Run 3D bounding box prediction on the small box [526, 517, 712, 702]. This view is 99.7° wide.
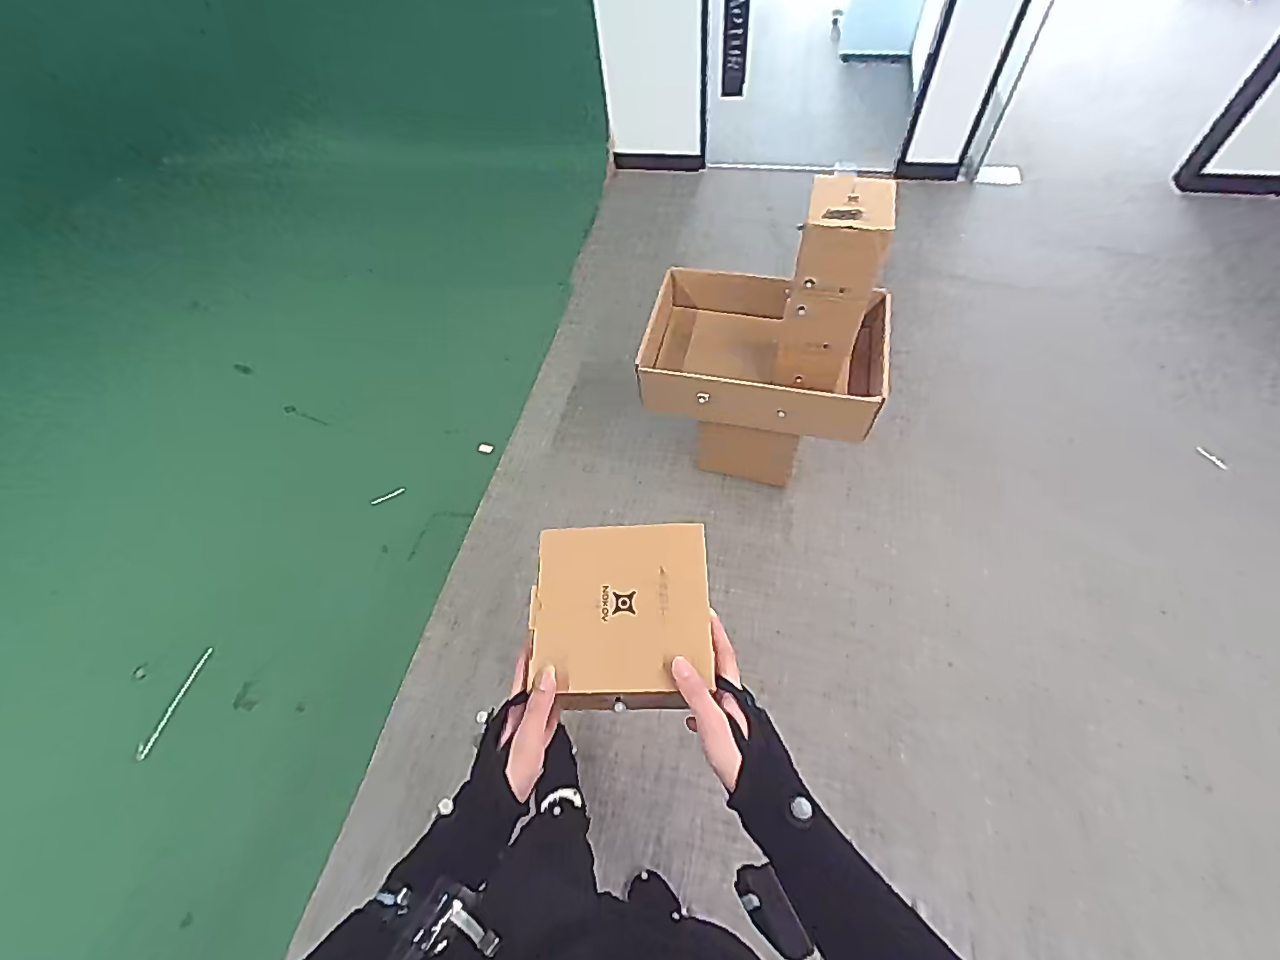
[{"bbox_3d":[-0.011,0.151,0.602,0.179,0.176,0.168,-2,62,5],"label":"small box"}]

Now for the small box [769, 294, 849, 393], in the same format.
[{"bbox_3d":[0.444,-0.361,1.434,0.168,0.176,0.179,11,61,11],"label":"small box"}]

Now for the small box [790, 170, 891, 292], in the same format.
[{"bbox_3d":[0.421,-0.525,1.150,0.168,0.176,0.179,10,60,10],"label":"small box"}]
